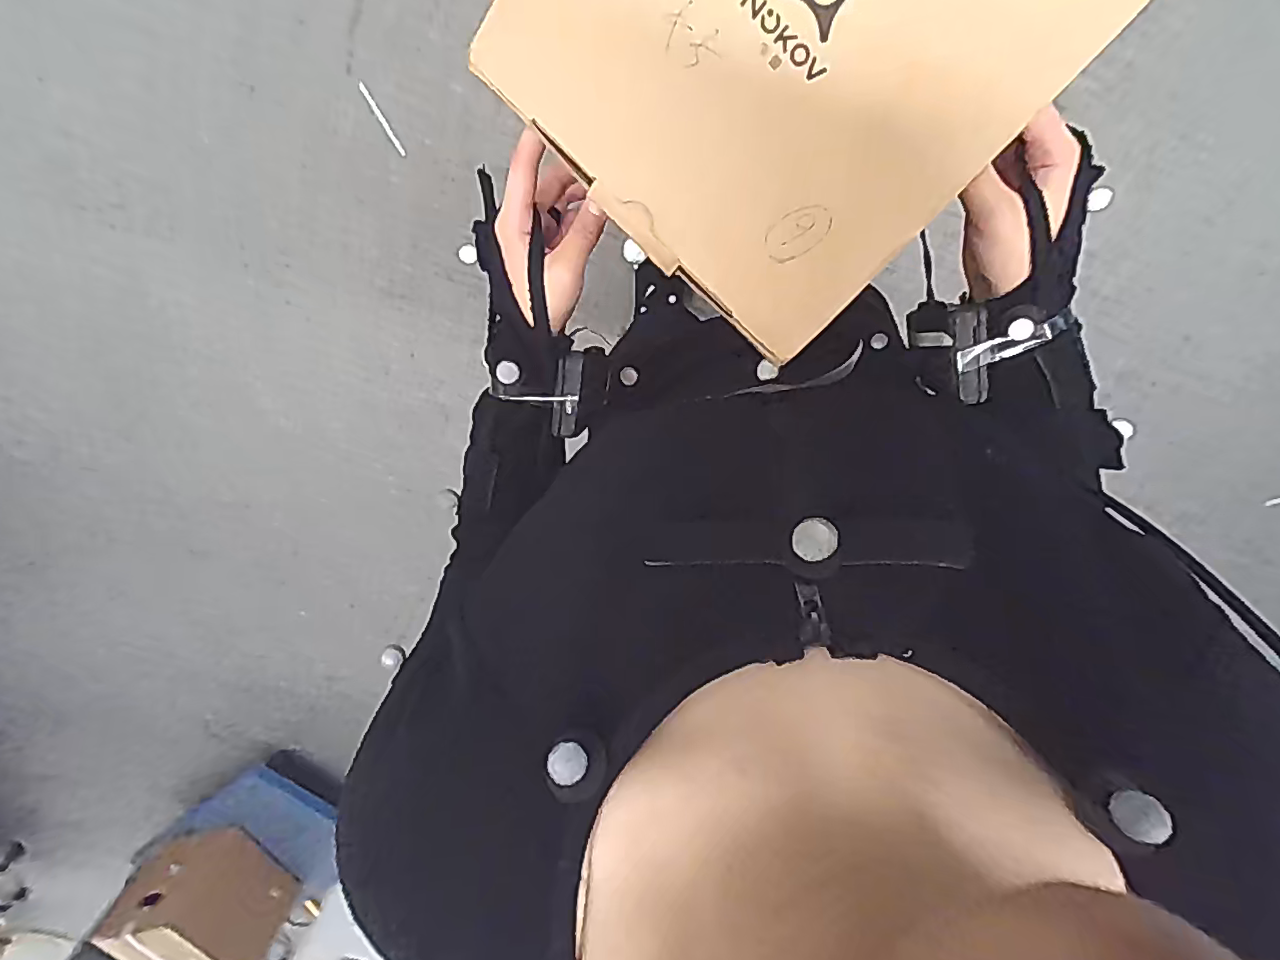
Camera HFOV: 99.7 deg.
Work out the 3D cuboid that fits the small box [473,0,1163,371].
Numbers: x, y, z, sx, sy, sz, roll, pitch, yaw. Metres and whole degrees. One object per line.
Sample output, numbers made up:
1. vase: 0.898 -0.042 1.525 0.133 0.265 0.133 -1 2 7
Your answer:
1. small box: 0.061 -0.182 0.258 0.168 0.176 0.179 41 110 -11
